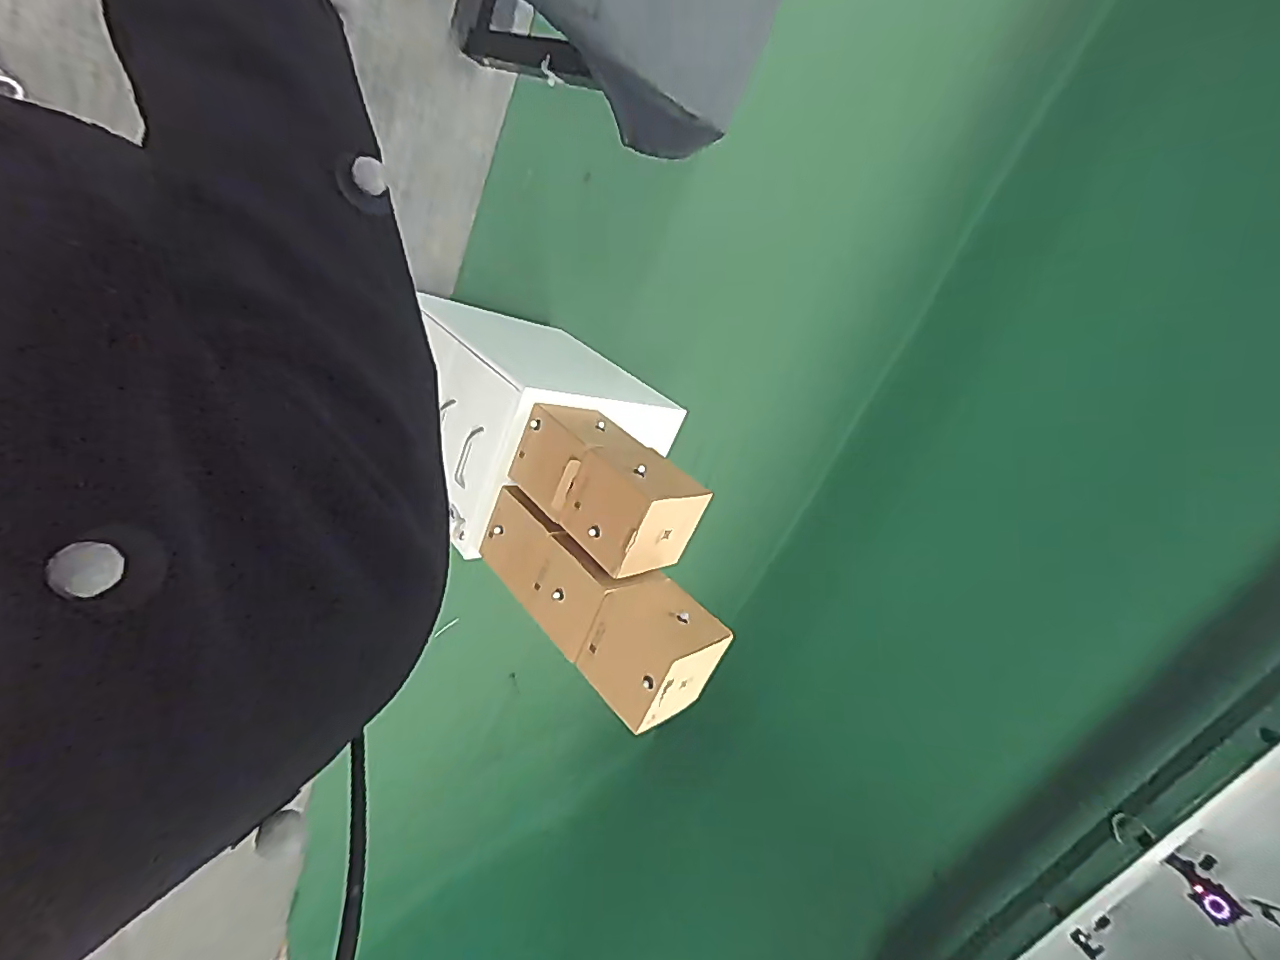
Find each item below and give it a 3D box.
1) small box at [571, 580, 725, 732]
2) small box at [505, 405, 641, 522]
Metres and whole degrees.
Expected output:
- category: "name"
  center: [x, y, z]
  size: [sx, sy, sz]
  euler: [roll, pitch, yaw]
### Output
- category: "small box"
  center: [0.012, 0.297, 0.959]
  size: [0.179, 0.176, 0.168]
  euler: [-4, 123, -51]
- category: "small box"
  center: [-0.136, -0.036, 1.066]
  size: [0.179, 0.176, 0.168]
  euler: [-2, 124, -52]
